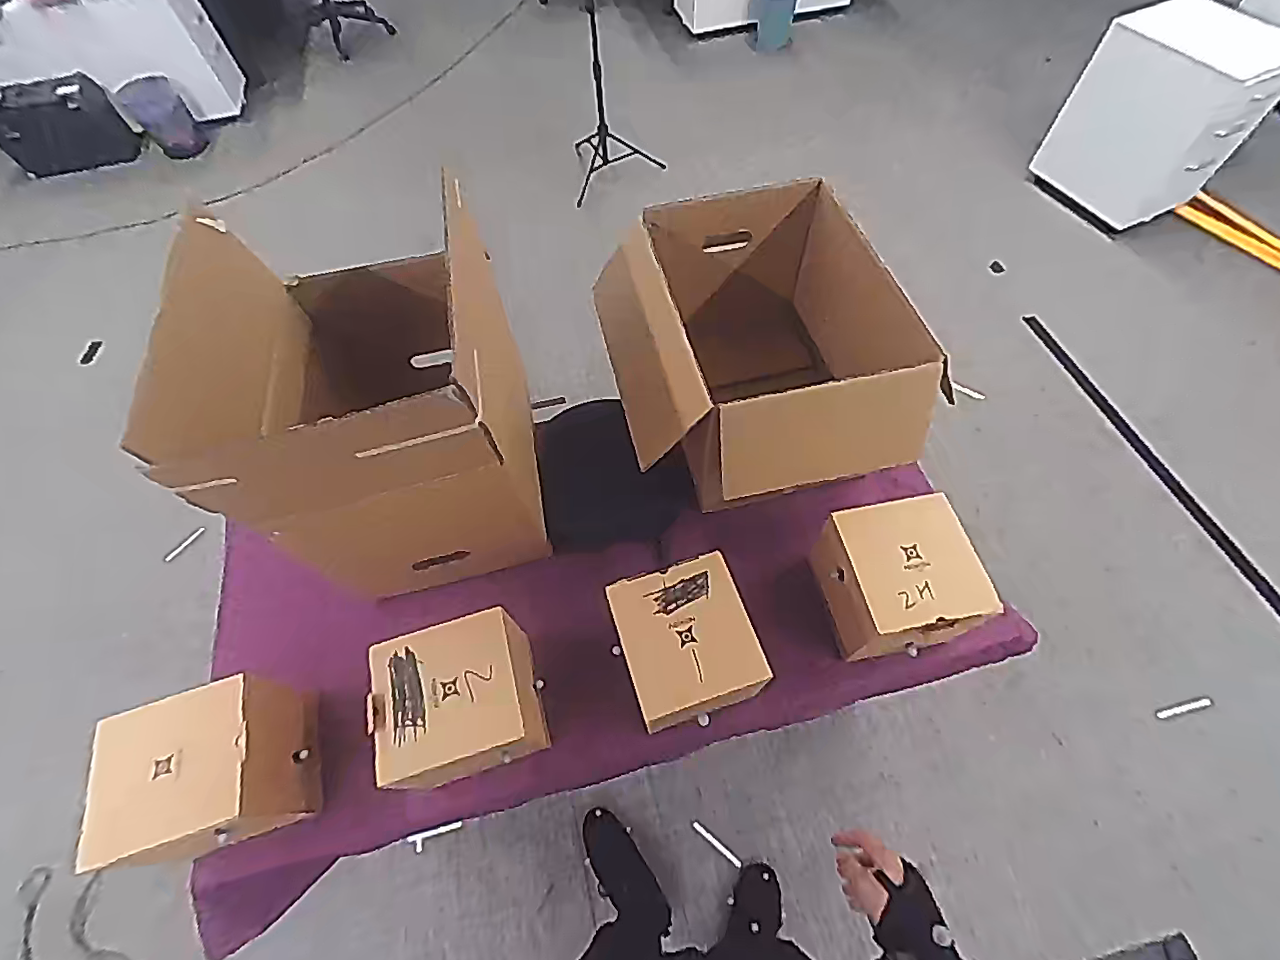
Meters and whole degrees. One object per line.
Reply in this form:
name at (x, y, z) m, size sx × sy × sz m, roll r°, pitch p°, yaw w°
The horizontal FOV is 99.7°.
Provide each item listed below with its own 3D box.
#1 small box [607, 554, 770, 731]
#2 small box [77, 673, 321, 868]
small box at (0.060, 0.230, 0.751) m, size 0.168 × 0.176 × 0.179 m, roll -17°, pitch 62°, yaw -5°
small box at (-0.550, 0.374, 0.704) m, size 0.179 × 0.176 × 0.168 m, roll -17°, pitch 61°, yaw -8°
